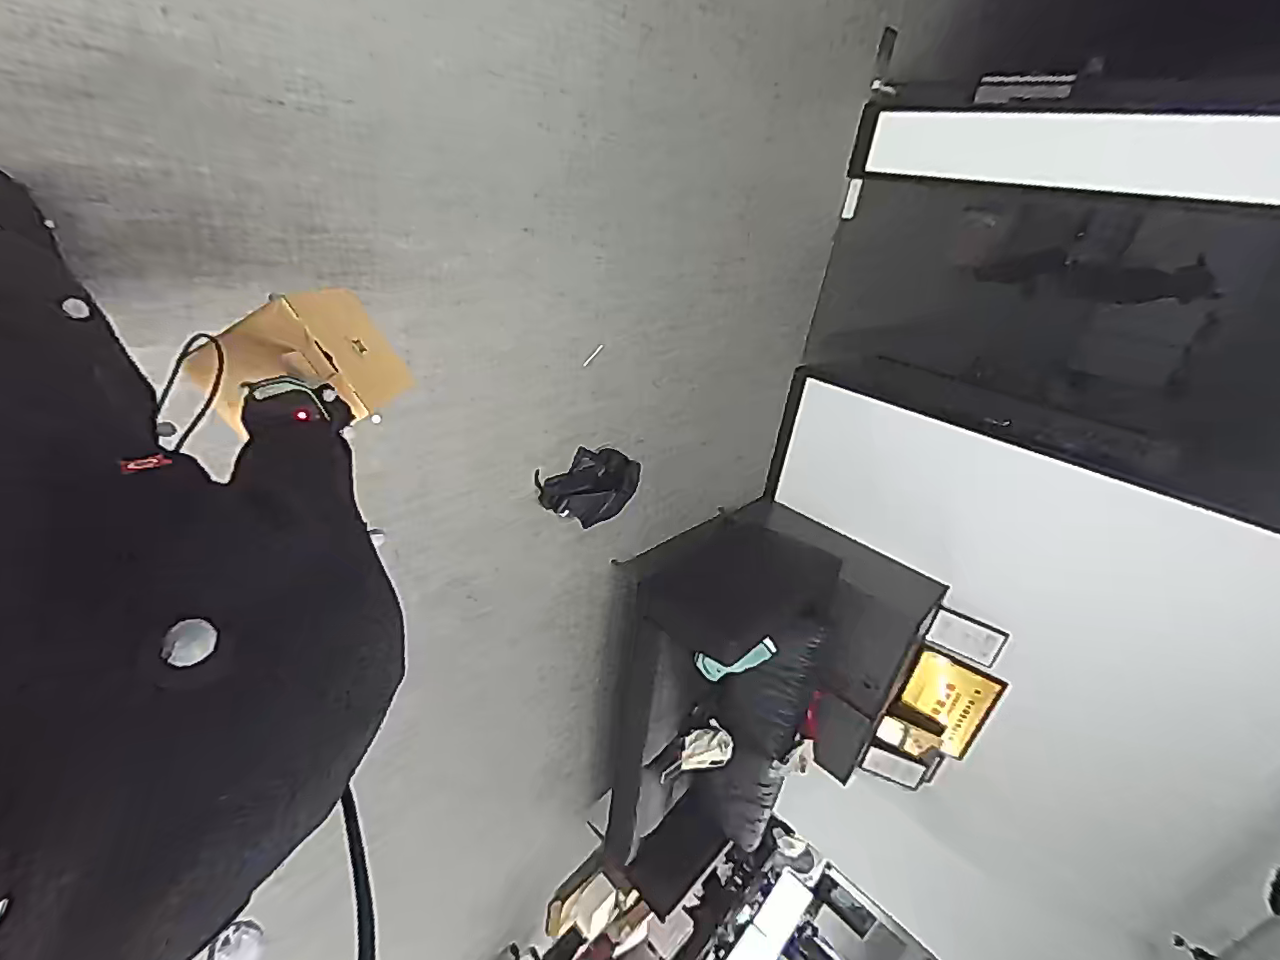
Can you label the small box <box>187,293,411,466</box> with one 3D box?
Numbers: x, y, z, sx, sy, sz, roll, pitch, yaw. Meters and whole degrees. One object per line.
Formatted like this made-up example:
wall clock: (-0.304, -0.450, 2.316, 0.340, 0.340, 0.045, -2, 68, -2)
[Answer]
small box: (-0.463, -0.146, 0.757, 0.176, 0.179, 0.168, -27, 111, 6)
